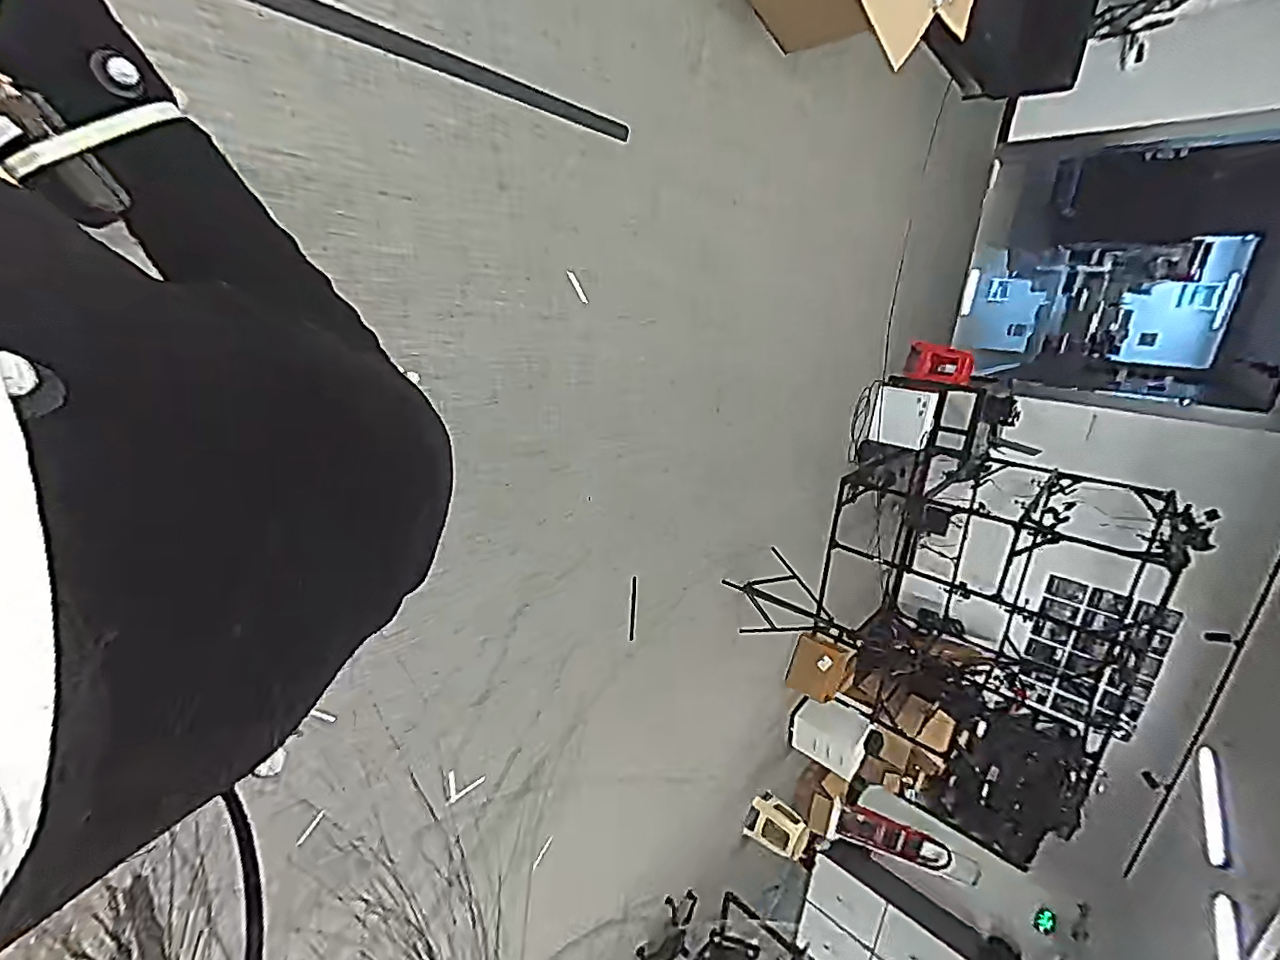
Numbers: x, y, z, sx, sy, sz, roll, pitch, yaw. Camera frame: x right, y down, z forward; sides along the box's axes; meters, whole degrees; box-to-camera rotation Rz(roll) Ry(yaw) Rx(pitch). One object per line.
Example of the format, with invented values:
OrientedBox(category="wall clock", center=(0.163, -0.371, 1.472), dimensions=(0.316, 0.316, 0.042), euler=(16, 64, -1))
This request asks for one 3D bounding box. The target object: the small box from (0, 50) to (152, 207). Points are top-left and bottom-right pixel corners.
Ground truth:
OrientedBox(category="small box", center=(-0.868, -0.507, 0.799), dimensions=(0.179, 0.176, 0.168), euler=(-20, 120, -45))
